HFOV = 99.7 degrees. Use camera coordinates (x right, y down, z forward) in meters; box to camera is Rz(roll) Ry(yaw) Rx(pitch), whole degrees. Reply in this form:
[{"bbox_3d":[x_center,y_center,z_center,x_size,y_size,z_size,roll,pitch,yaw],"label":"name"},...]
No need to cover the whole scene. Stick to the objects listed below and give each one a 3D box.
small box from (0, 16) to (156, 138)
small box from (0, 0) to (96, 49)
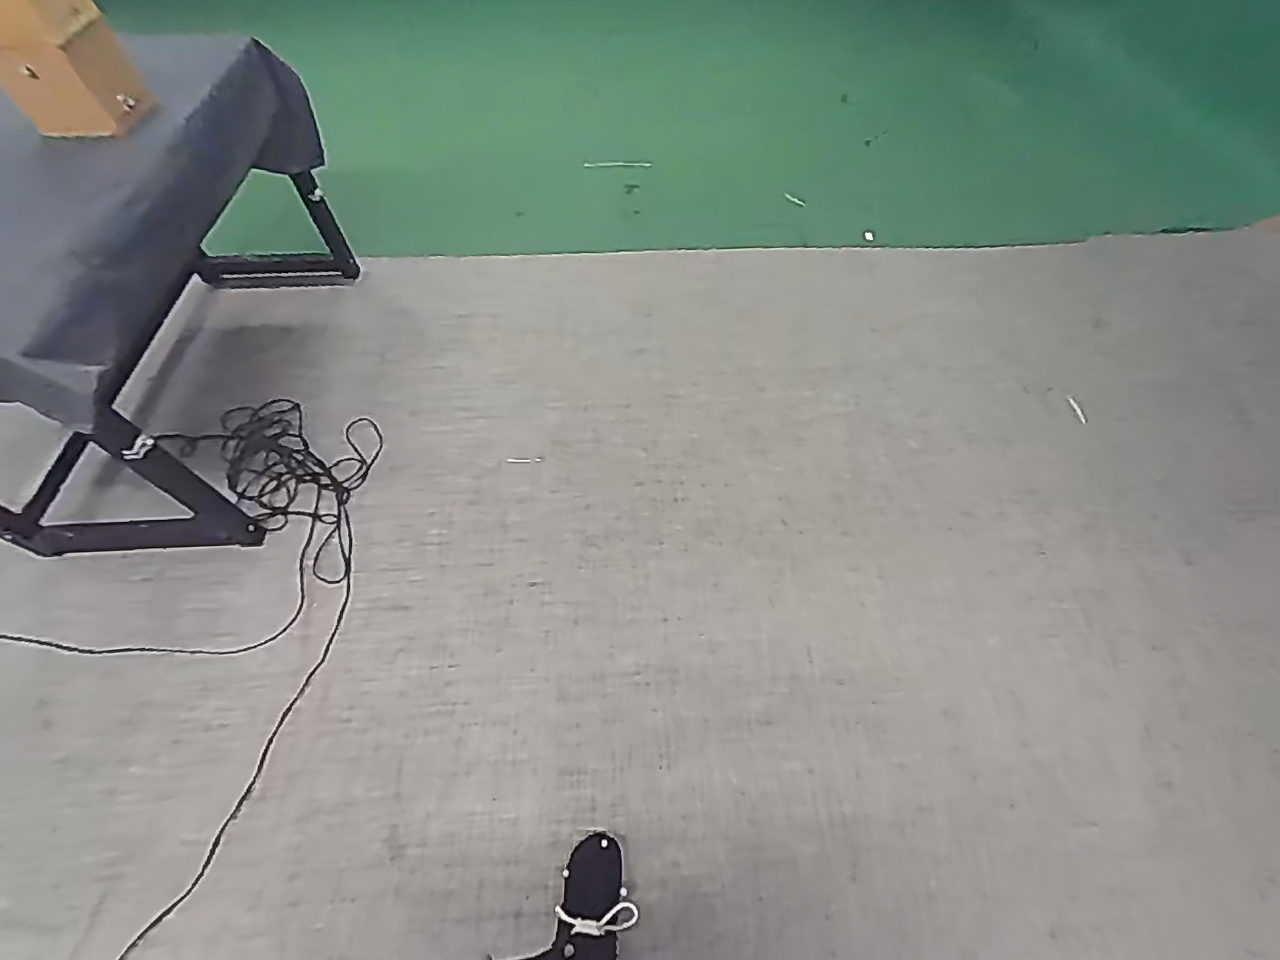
[{"bbox_3d":[-1.212,-0.859,1.156,0.179,0.176,0.168,-1,59,-2],"label":"small box"},{"bbox_3d":[-1.204,-0.941,1.016,0.179,0.176,0.168,-3,59,-1],"label":"small box"}]
